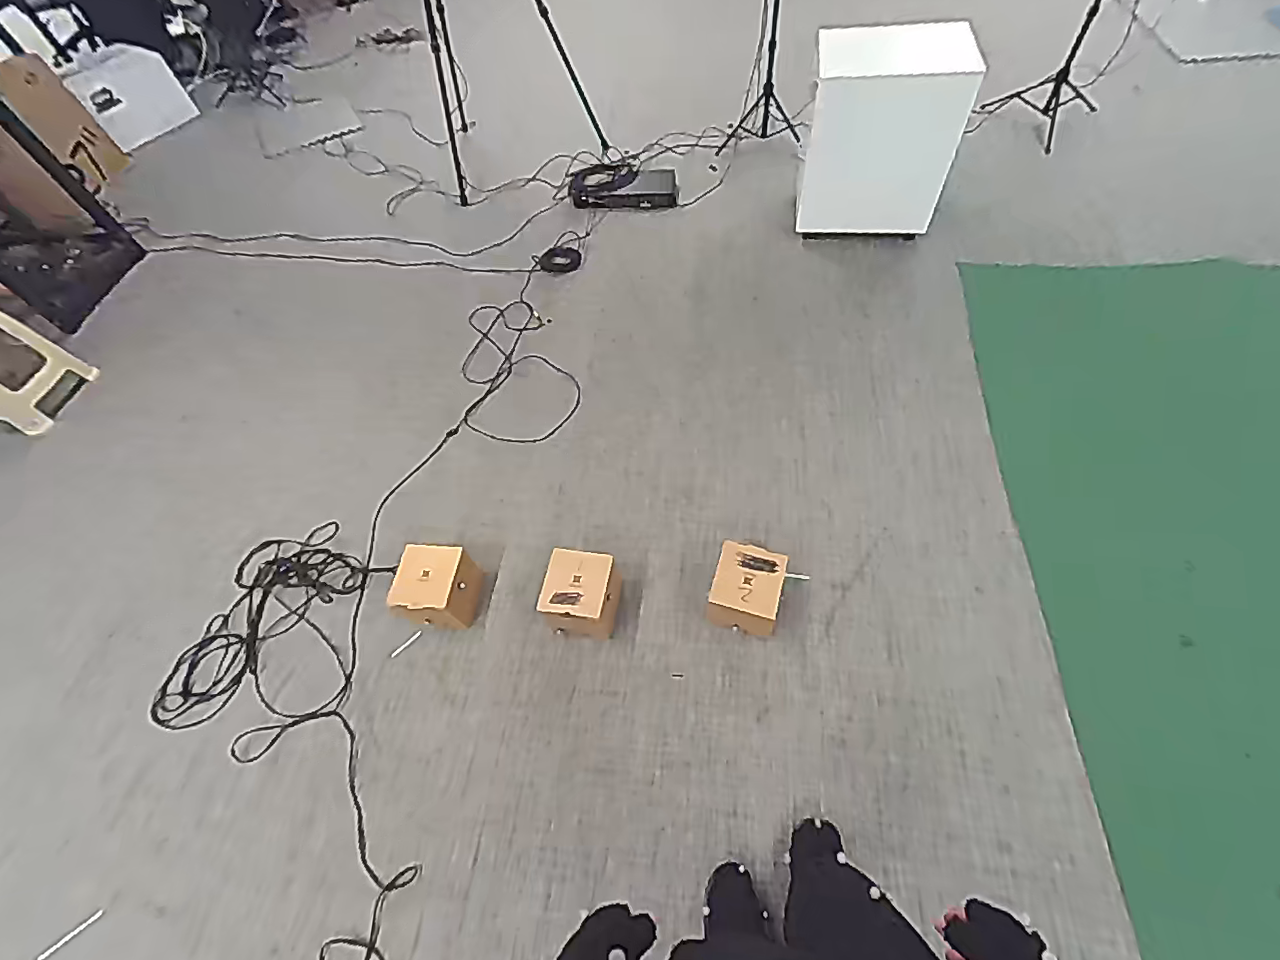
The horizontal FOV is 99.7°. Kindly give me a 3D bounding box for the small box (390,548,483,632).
[{"bbox_3d":[-0.550,0.305,1.495,0.168,0.176,0.179,2,58,8],"label":"small box"}]

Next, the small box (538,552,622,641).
[{"bbox_3d":[-0.151,0.314,1.441,0.168,0.176,0.179,6,57,11],"label":"small box"}]
